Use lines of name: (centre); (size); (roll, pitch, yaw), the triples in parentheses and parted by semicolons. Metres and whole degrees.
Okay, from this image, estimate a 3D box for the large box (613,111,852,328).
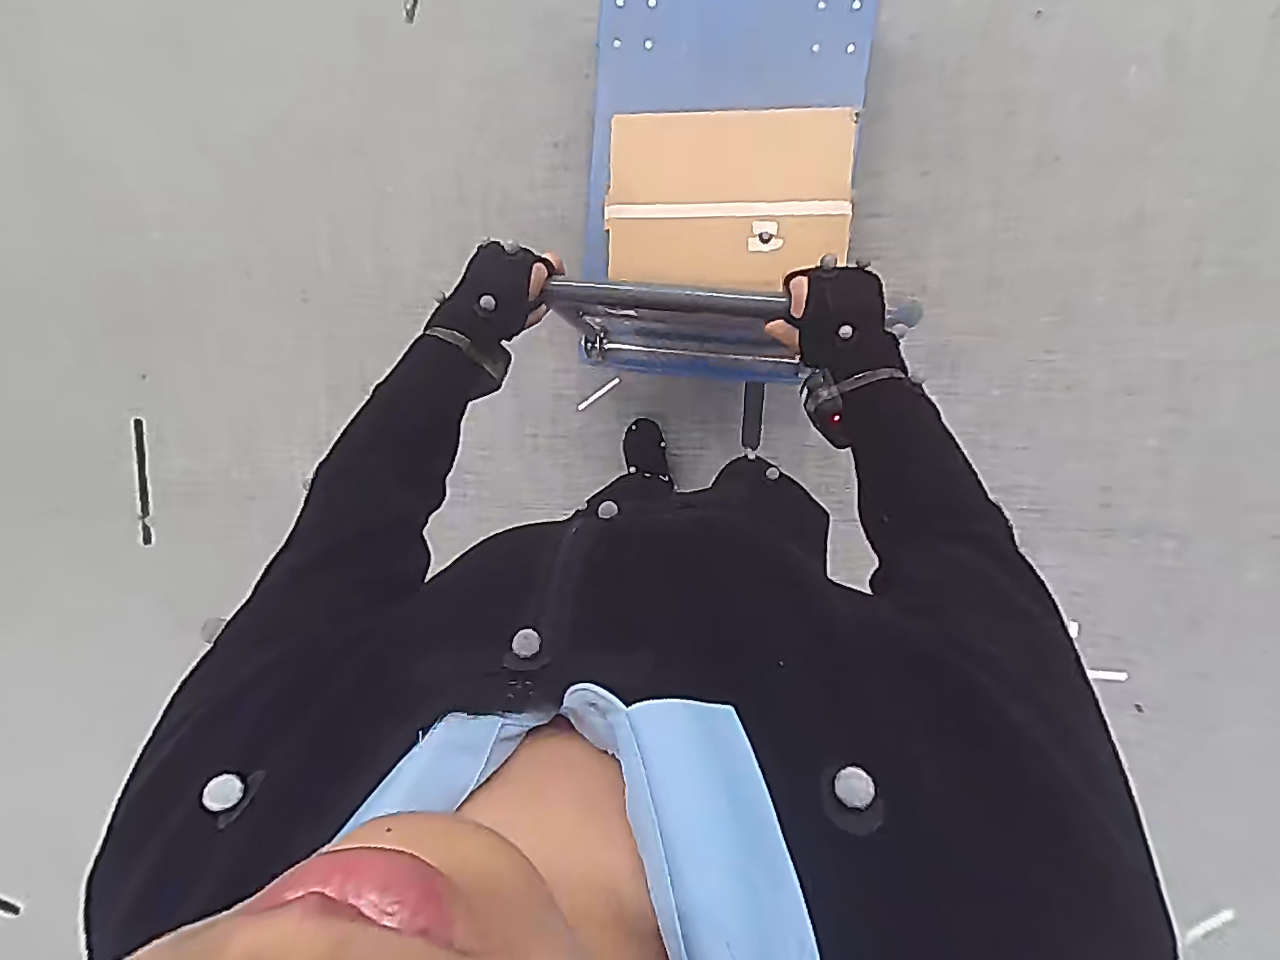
large box: (0.164, -0.482, 1.075); (0.408, 0.320, 0.320); (2, 99, 6)
